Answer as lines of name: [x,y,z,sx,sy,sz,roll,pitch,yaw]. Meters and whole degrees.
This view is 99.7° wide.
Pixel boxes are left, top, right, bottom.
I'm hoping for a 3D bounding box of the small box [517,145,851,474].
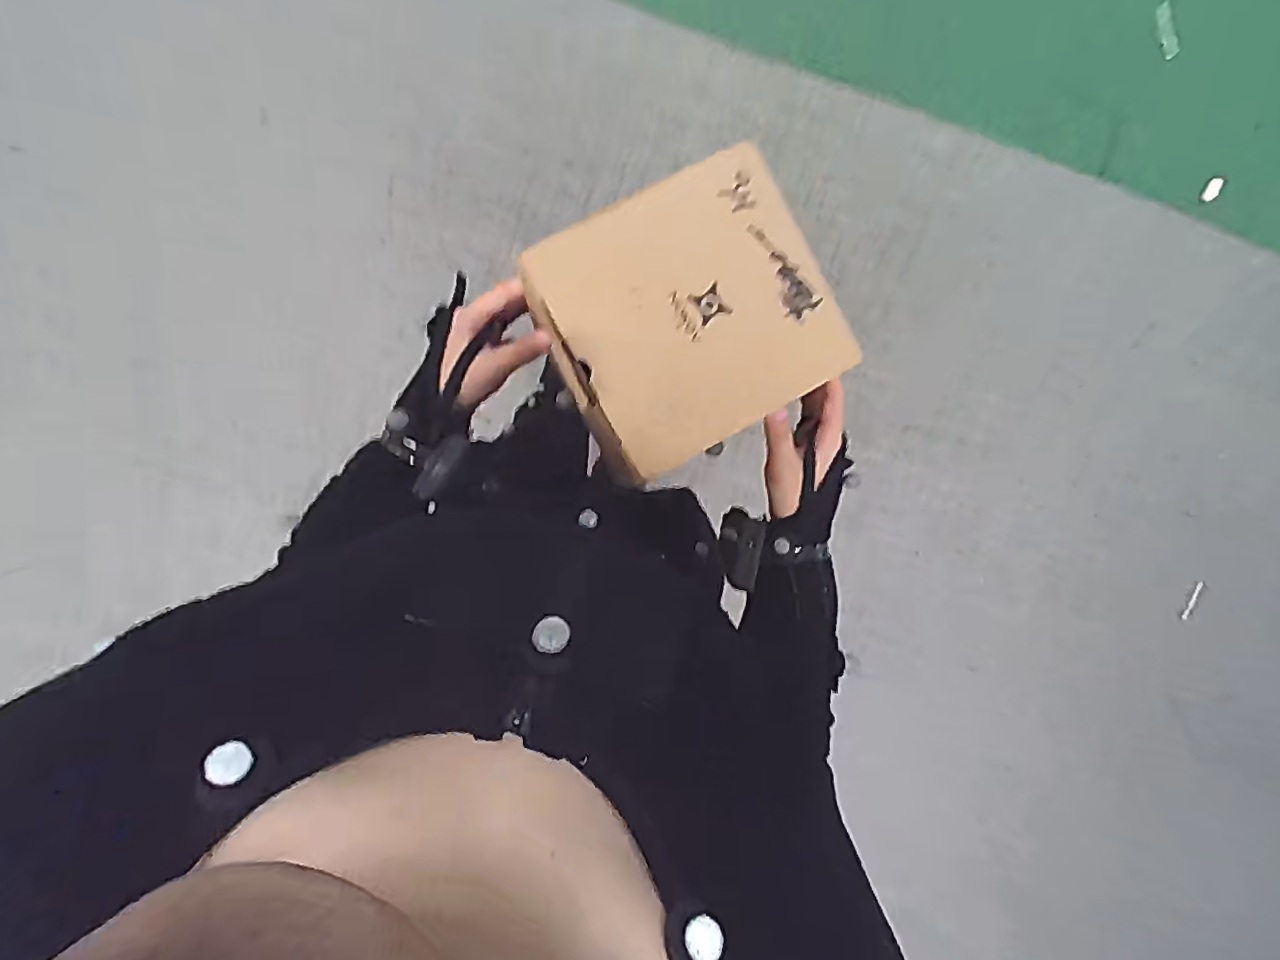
small box: [0.025,-0.113,0.438,0.179,0.176,0.168,-30,94,-5]
